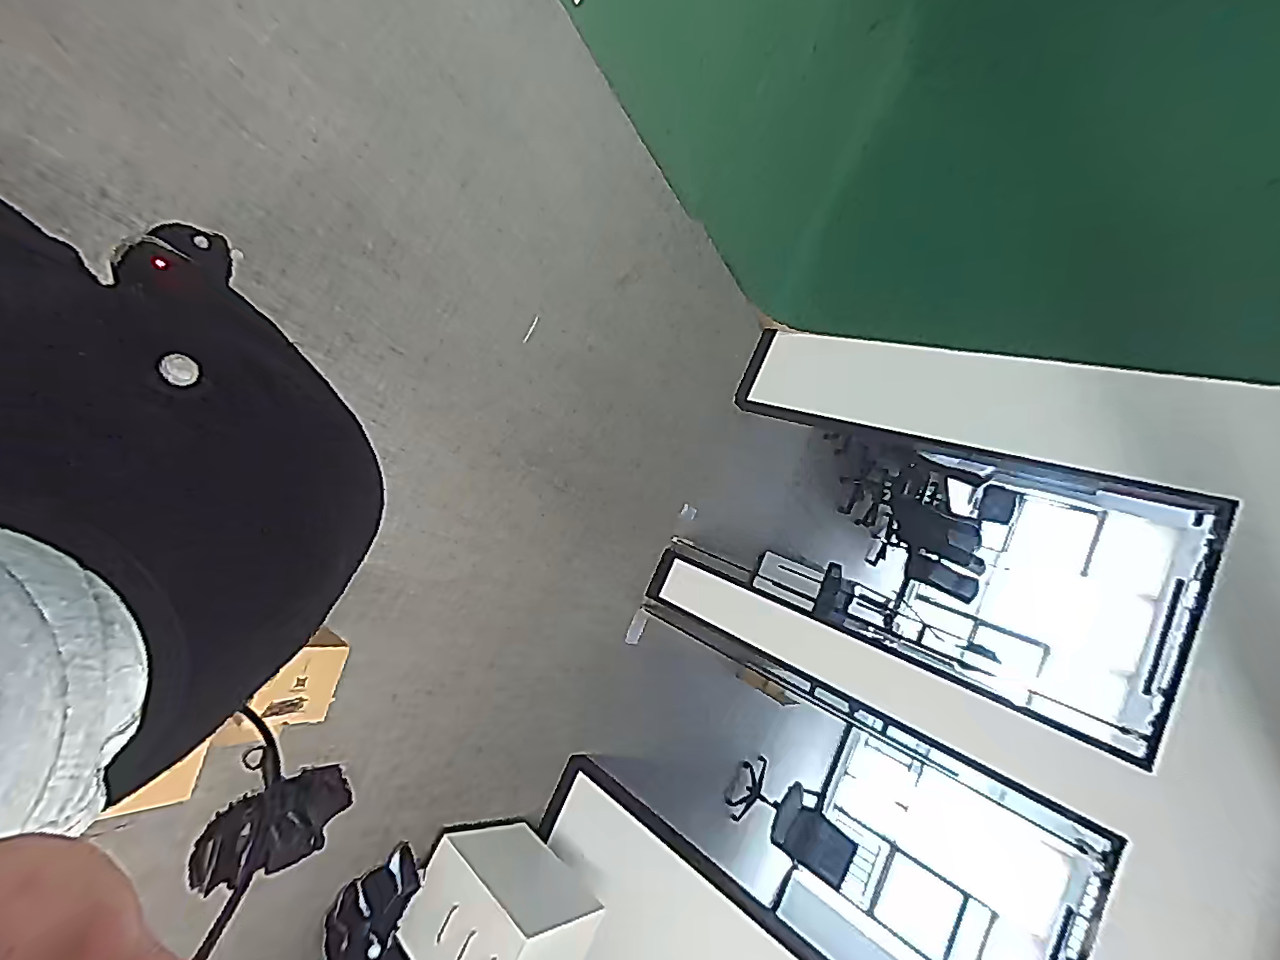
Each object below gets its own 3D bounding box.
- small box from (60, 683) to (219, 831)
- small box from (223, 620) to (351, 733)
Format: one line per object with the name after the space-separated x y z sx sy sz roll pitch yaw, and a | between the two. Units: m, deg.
-0.949 0.508 1.023 0.179 0.176 0.168 17 95 -54 | small box
-0.784 0.427 1.195 0.168 0.176 0.179 24 83 -53 | small box
